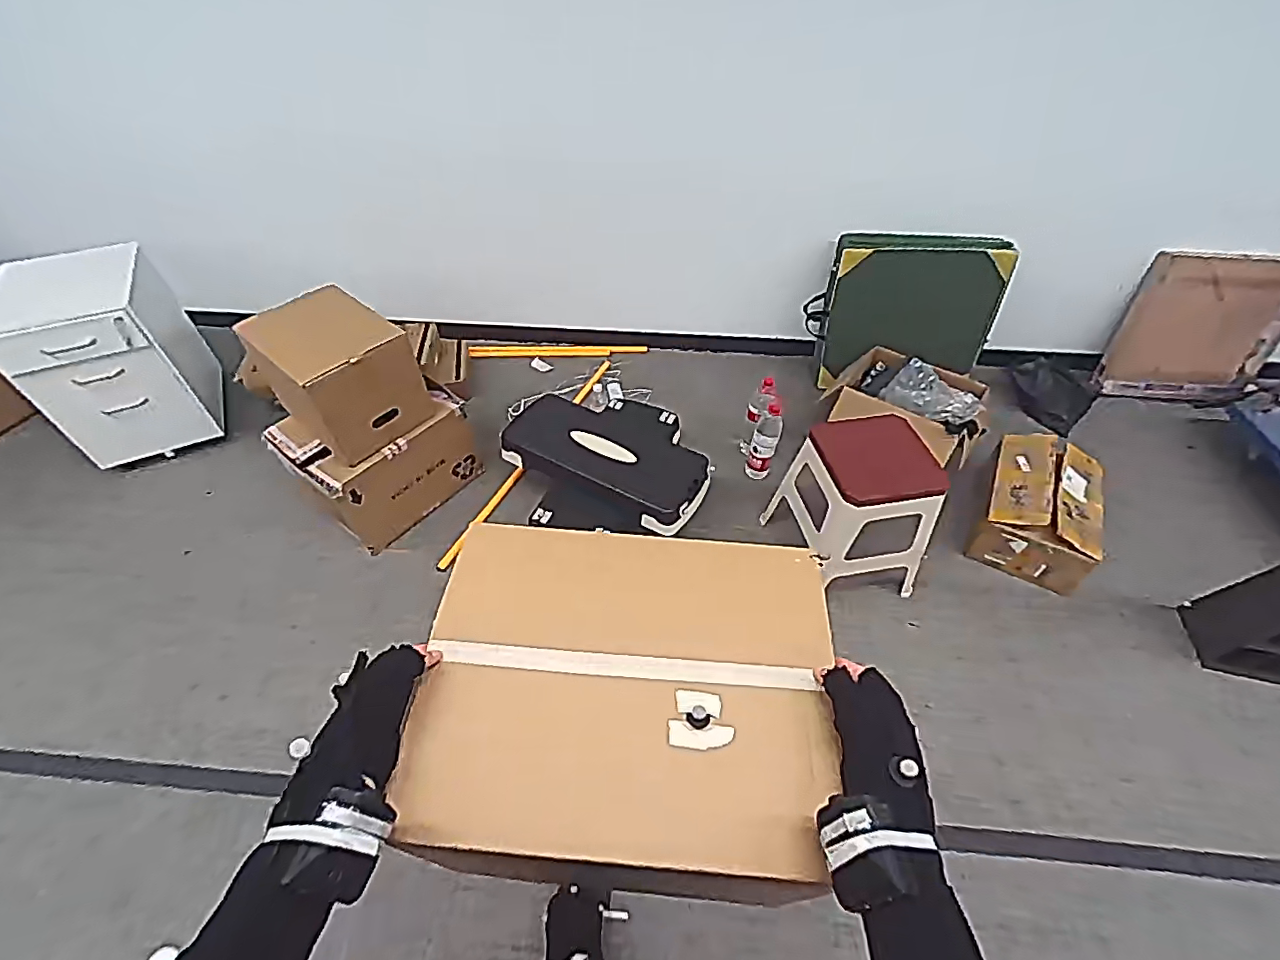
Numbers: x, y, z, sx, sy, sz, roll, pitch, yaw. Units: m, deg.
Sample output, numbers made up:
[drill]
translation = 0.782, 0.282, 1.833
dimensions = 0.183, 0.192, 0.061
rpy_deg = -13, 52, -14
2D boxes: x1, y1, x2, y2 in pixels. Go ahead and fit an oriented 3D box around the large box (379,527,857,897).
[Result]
[large box]
translation = -0.016, 0.281, 0.649
dimensions = 0.408, 0.320, 0.320
rpy_deg = 5, 50, 2
